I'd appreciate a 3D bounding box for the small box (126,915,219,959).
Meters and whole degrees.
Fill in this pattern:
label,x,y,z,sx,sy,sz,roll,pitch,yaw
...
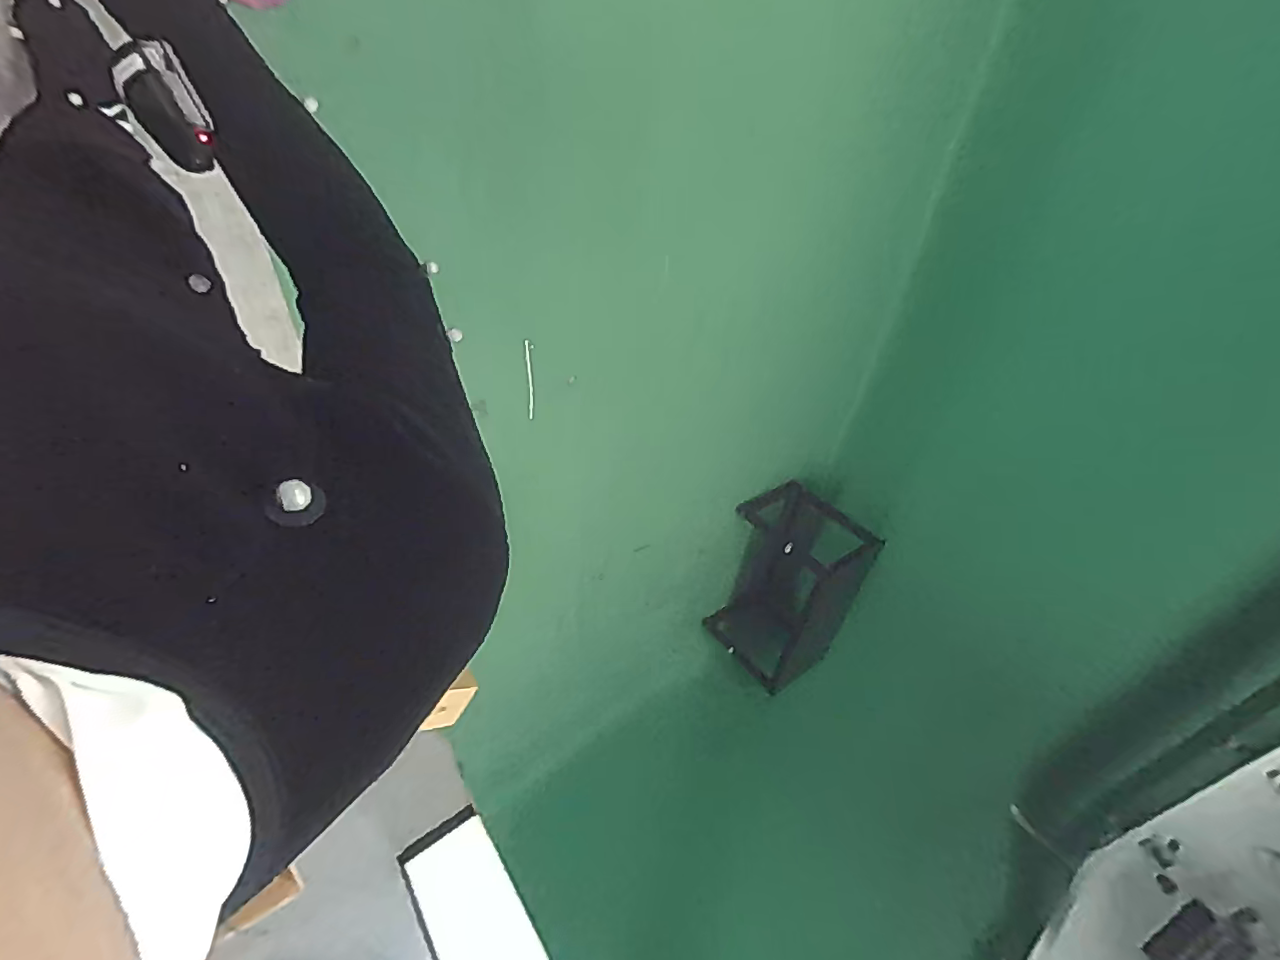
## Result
label,x,y,z,sx,sy,sz,roll,pitch,yaw
small box,-1.280,1.359,1.490,0.168,0.176,0.179,-18,133,-37
